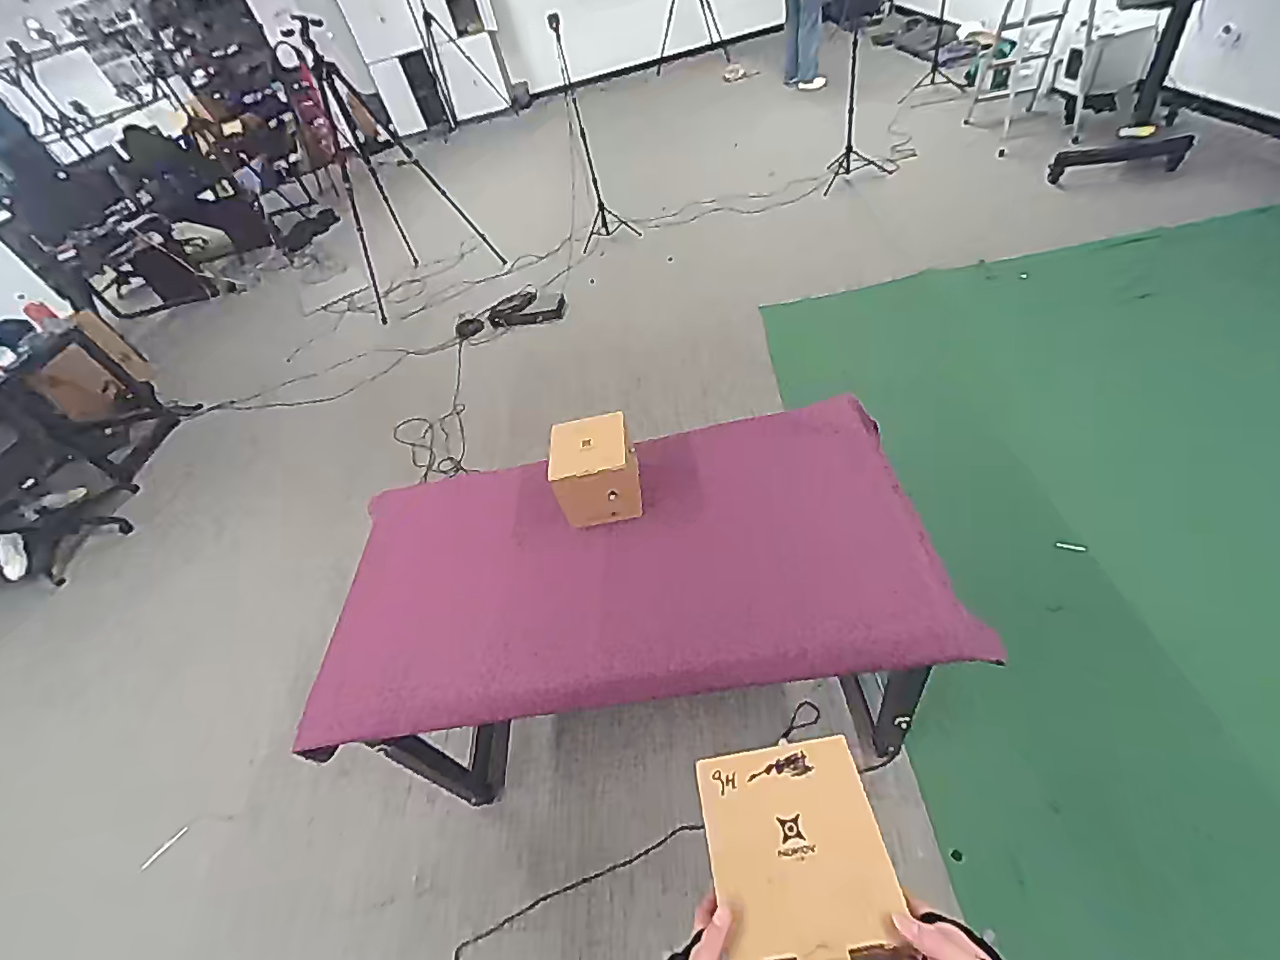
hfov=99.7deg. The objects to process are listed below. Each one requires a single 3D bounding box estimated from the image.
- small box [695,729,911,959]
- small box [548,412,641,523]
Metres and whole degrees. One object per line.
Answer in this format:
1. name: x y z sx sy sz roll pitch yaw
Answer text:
1. small box: 0.164 0.398 0.577 0.168 0.176 0.179 -13 42 5
2. small box: -0.096 -0.020 1.207 0.168 0.176 0.179 -11 46 7
